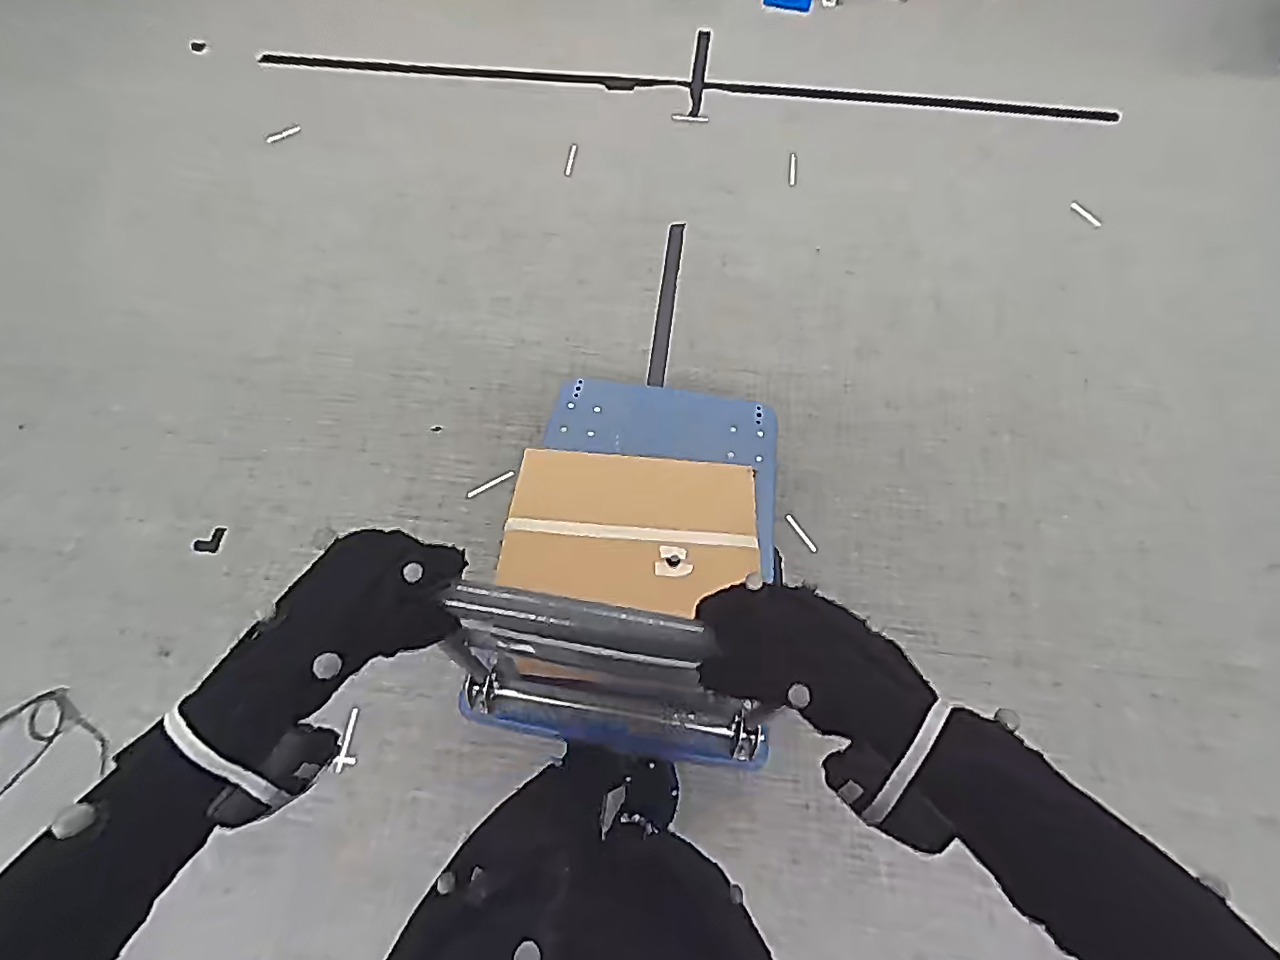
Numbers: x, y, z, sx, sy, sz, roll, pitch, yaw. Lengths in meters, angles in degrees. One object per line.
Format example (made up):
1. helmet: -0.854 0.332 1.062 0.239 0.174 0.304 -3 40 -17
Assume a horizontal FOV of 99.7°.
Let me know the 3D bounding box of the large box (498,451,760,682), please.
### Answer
1. large box: -0.018 0.171 1.011 0.408 0.320 0.320 5 56 -1
